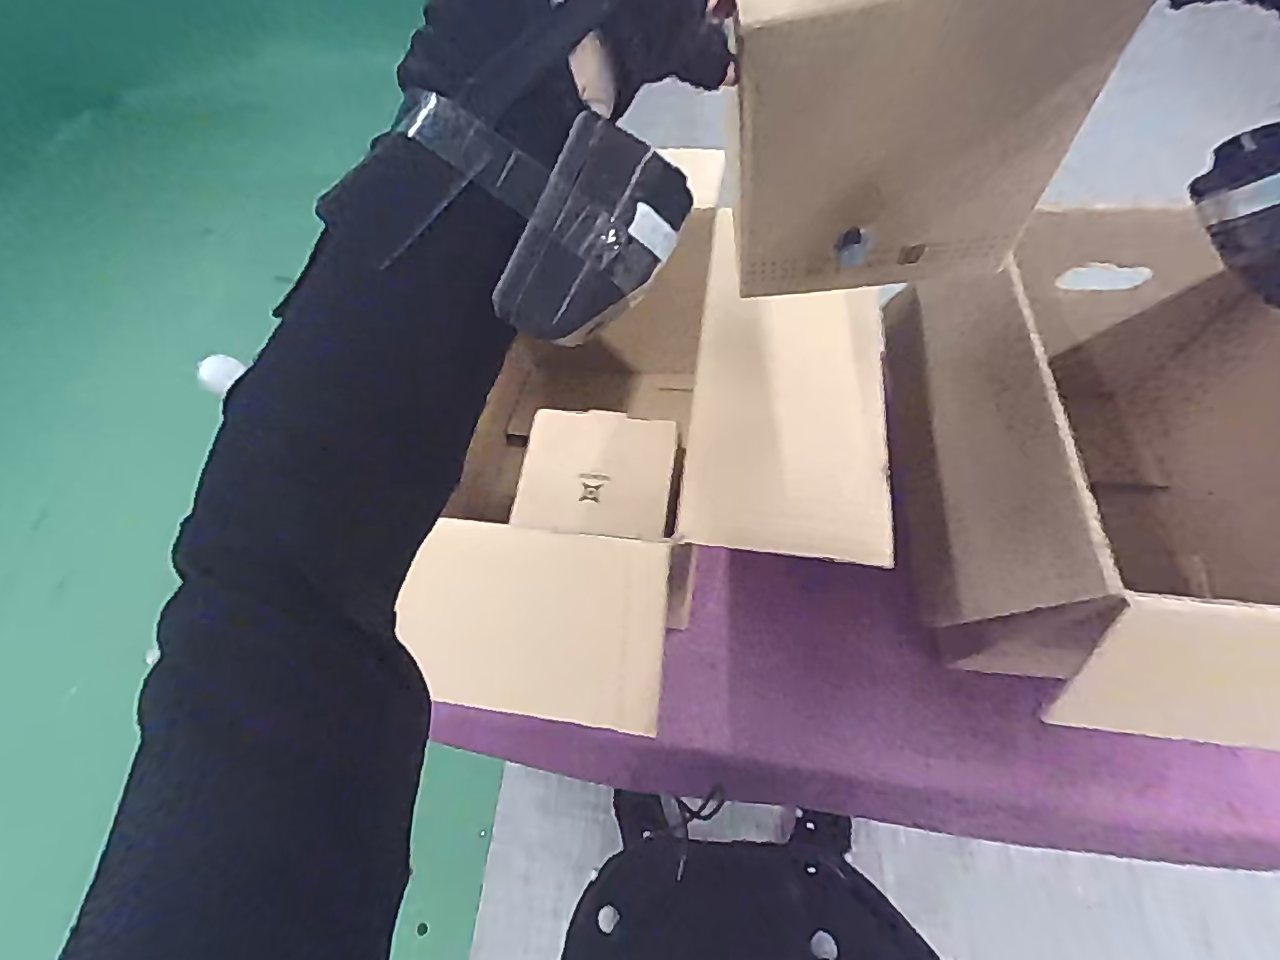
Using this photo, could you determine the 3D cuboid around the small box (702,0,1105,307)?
[{"bbox_3d":[0.124,-0.236,0.331,0.168,0.176,0.179,-4,64,10],"label":"small box"}]
